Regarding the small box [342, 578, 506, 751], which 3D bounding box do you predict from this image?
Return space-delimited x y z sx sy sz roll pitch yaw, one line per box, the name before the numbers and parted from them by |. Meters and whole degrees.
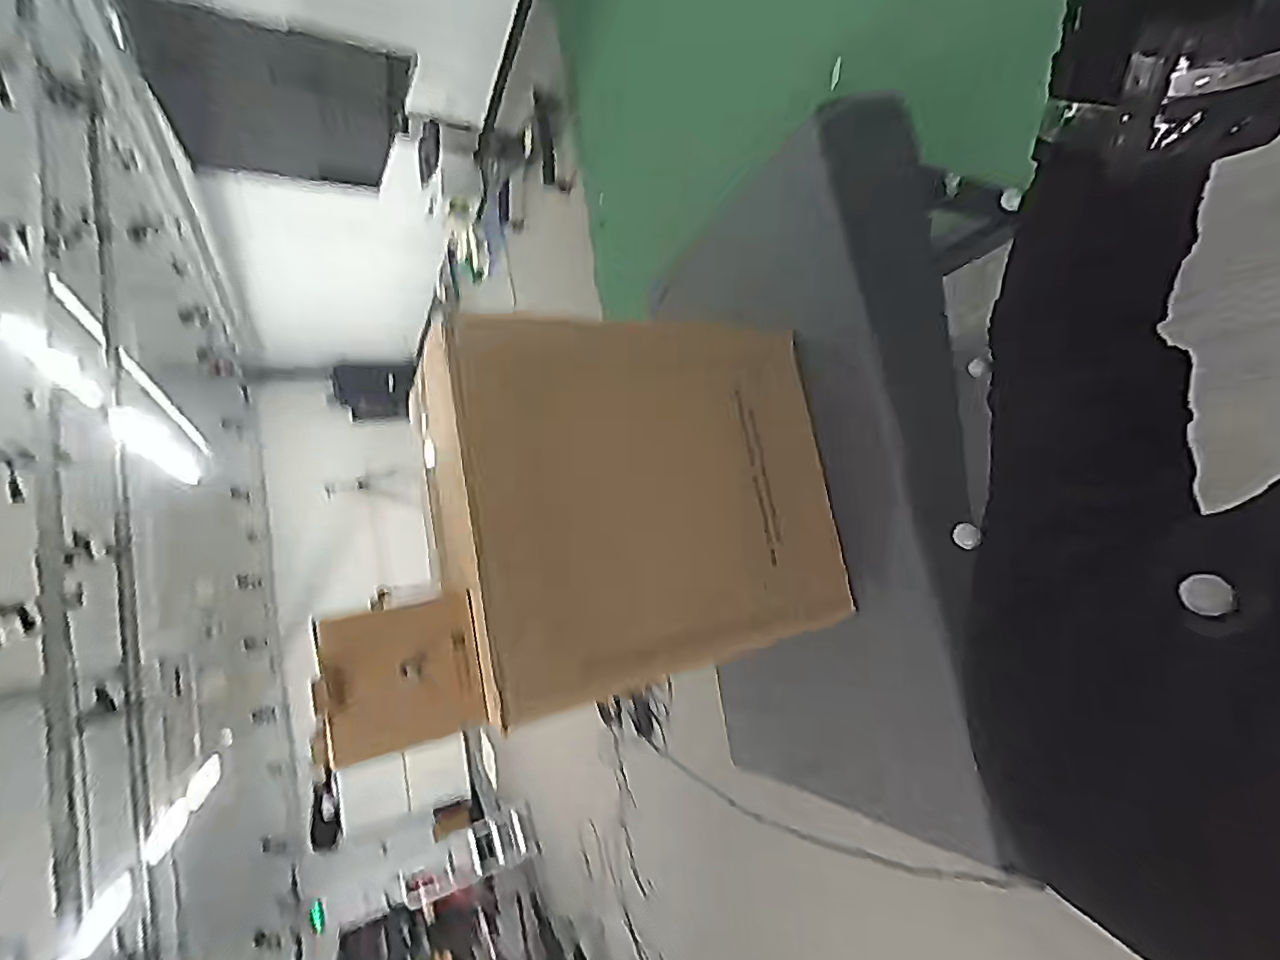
small box | -0.286 0.234 0.716 0.179 0.176 0.168 -31 70 57
